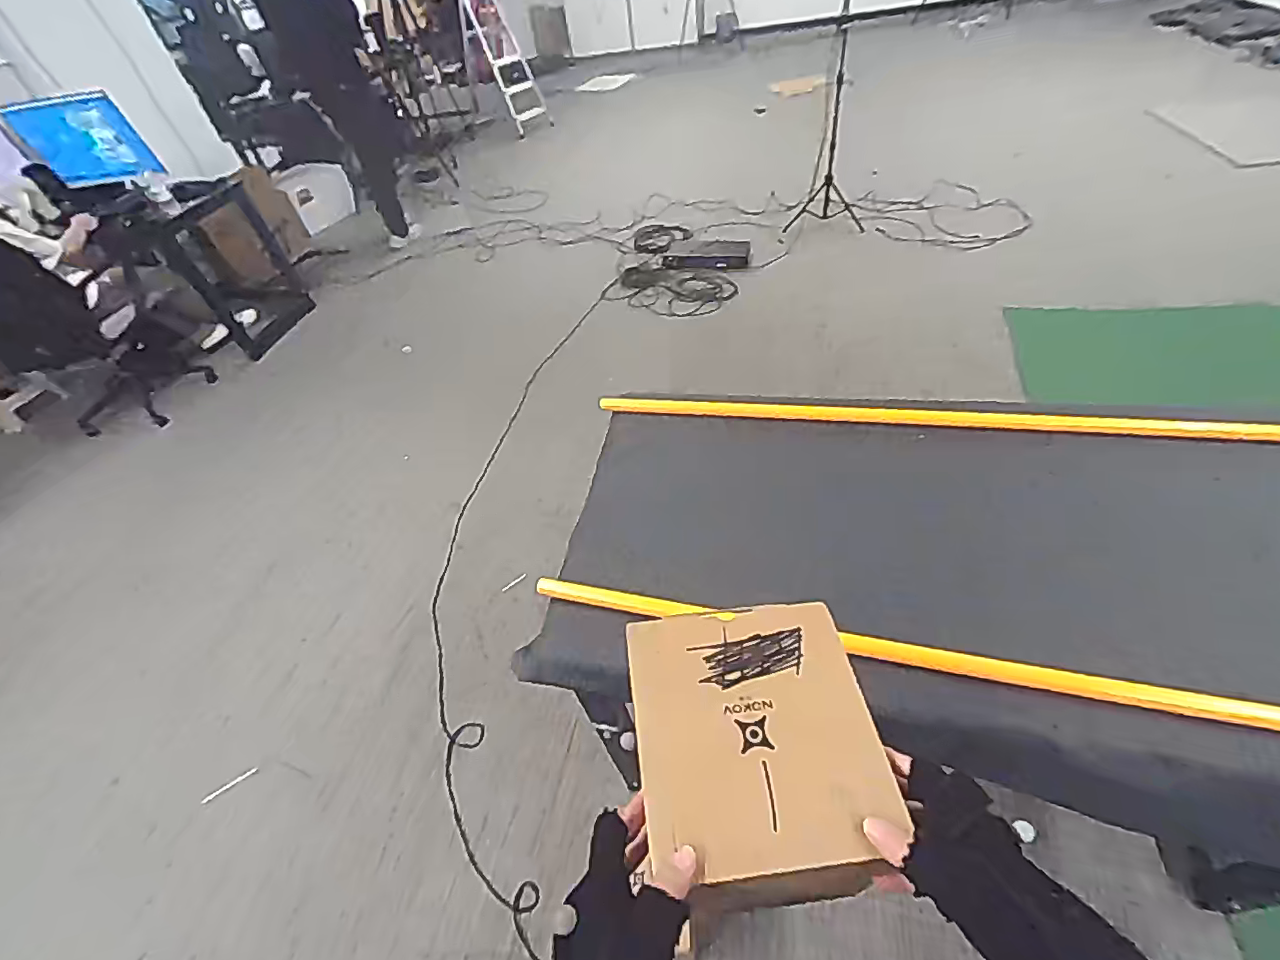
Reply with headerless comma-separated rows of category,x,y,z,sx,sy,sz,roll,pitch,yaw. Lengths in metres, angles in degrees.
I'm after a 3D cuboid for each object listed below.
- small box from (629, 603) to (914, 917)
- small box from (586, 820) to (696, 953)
small box,0.081,0.225,0.439,0.168,0.176,0.179,-6,46,-2
small box,0.005,0.727,0.967,0.168,0.176,0.179,-8,46,5
